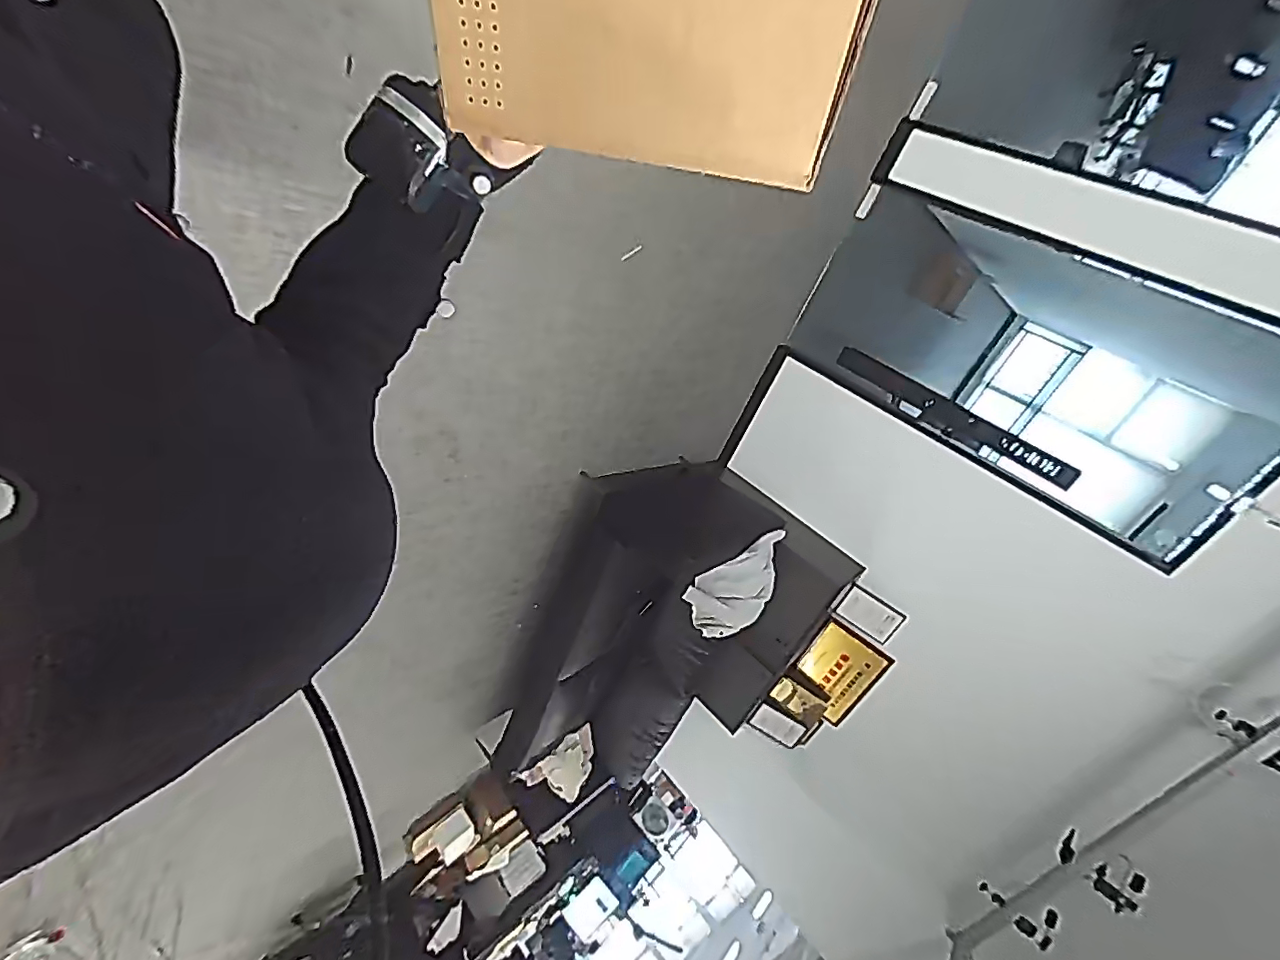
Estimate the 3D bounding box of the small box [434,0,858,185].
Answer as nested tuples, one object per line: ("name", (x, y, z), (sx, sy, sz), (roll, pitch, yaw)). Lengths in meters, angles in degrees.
("small box", (0.011, -0.260, 0.244), (0.179, 0.176, 0.168), (96, 7, -47))
